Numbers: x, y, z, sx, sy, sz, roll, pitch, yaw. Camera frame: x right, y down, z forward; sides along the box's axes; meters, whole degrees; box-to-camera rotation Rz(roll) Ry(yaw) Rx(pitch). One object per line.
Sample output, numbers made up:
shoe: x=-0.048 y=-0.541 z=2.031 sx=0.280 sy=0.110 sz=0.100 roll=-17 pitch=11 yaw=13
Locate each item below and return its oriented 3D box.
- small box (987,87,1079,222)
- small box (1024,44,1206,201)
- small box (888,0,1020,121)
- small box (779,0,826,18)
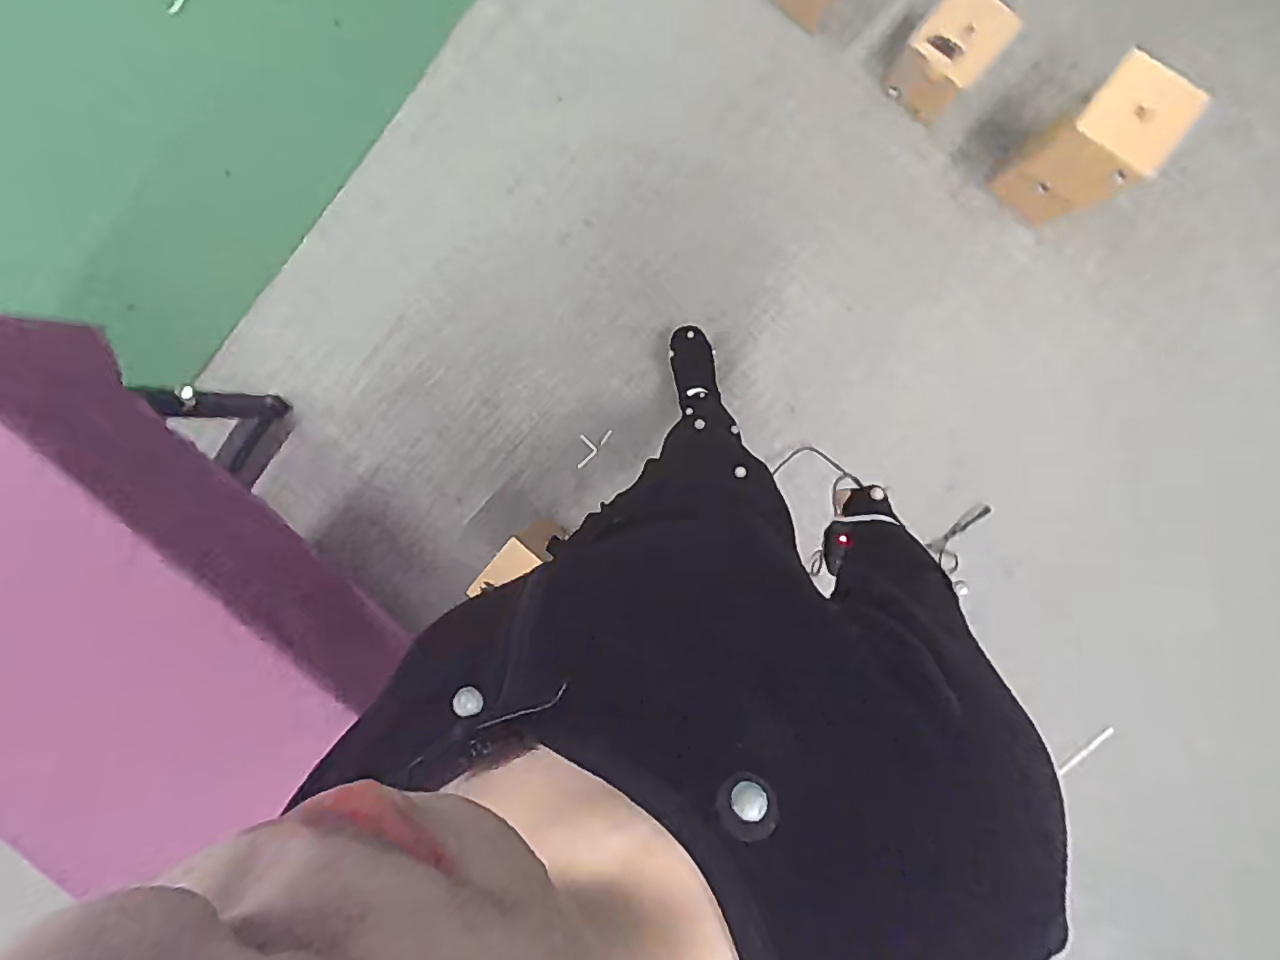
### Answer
small box: x=0.952 y=-0.730 z=1.238 sx=0.179 sy=0.176 sz=0.168 roll=39 pitch=99 yaw=-1
small box: x=0.929 y=-0.697 z=1.080 sx=0.179 sy=0.176 sz=0.168 roll=34 pitch=99 yaw=0
small box: x=0.697 y=-0.975 z=1.232 sx=0.168 sy=0.176 sz=0.179 roll=42 pitch=98 yaw=-1
small box: x=0.392 y=-1.217 z=1.232 sx=0.179 sy=0.176 sz=0.168 roll=41 pitch=98 yaw=-1
